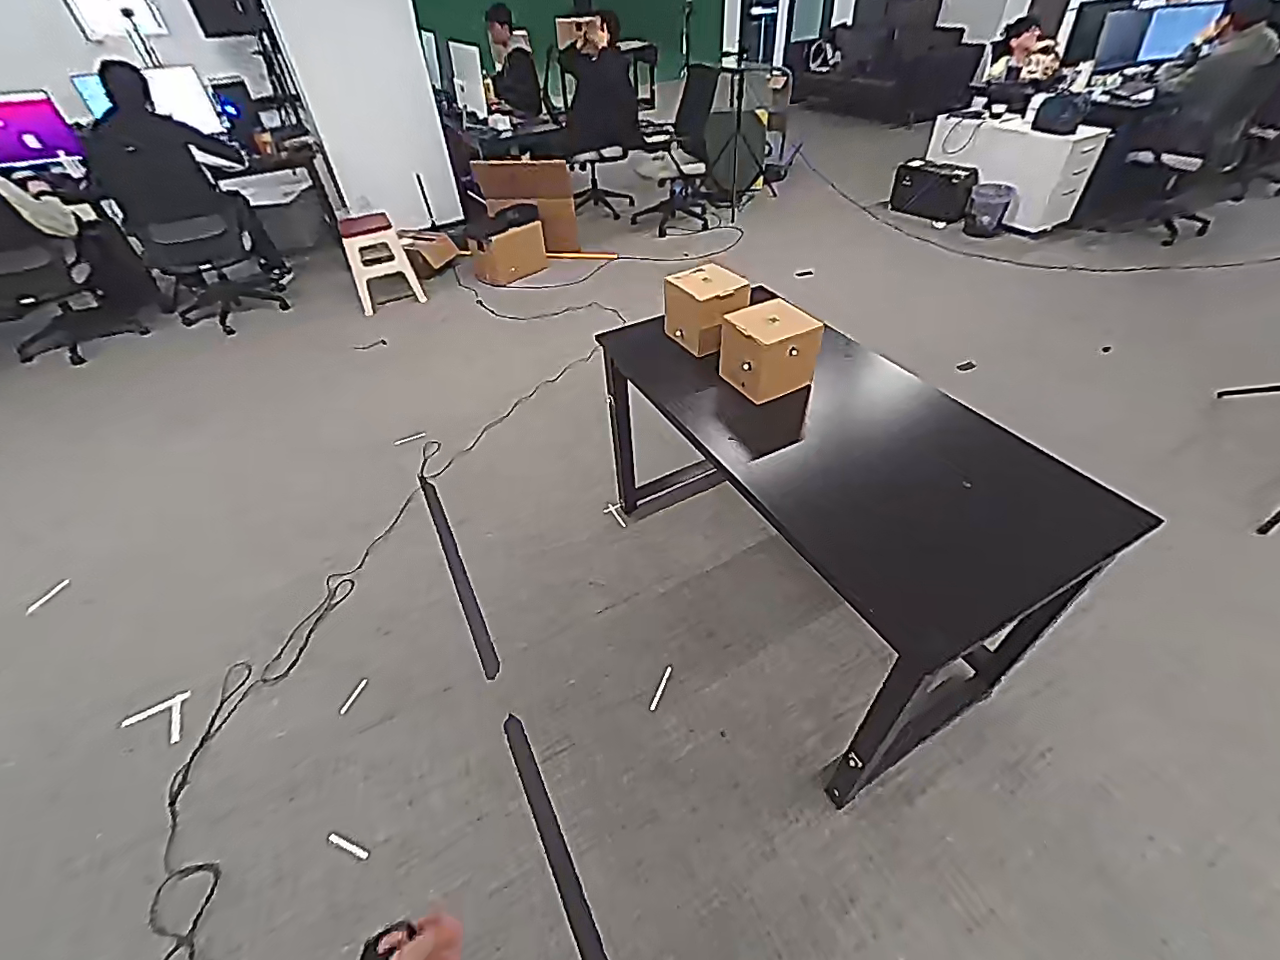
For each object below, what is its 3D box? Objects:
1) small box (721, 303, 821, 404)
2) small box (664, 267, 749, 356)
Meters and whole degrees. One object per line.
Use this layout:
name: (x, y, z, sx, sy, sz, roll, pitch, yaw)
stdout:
small box: (0.314, -0.311, 1.338, 0.179, 0.176, 0.168, -22, 48, -20)
small box: (0.180, -0.464, 1.503, 0.168, 0.176, 0.179, -23, 48, -21)
